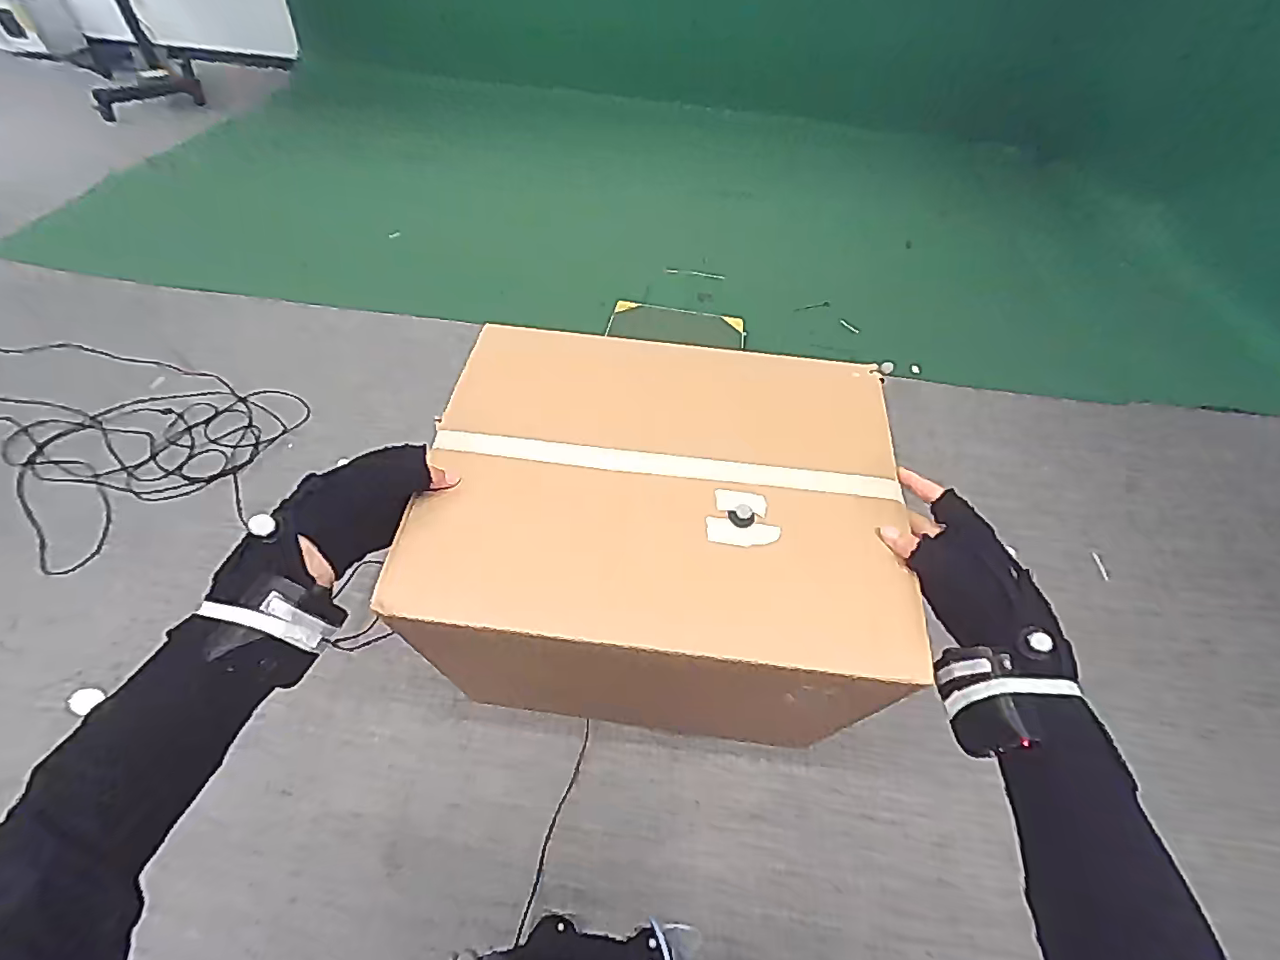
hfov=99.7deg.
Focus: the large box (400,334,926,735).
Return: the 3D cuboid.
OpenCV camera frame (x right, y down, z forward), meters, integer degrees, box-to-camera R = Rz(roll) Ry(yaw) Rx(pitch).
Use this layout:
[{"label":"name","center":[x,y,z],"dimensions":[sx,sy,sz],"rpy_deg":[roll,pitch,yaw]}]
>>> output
[{"label":"large box","center":[0.021,0.074,0.604],"dimensions":[0.408,0.320,0.320],"rpy_deg":[7,57,1]}]
